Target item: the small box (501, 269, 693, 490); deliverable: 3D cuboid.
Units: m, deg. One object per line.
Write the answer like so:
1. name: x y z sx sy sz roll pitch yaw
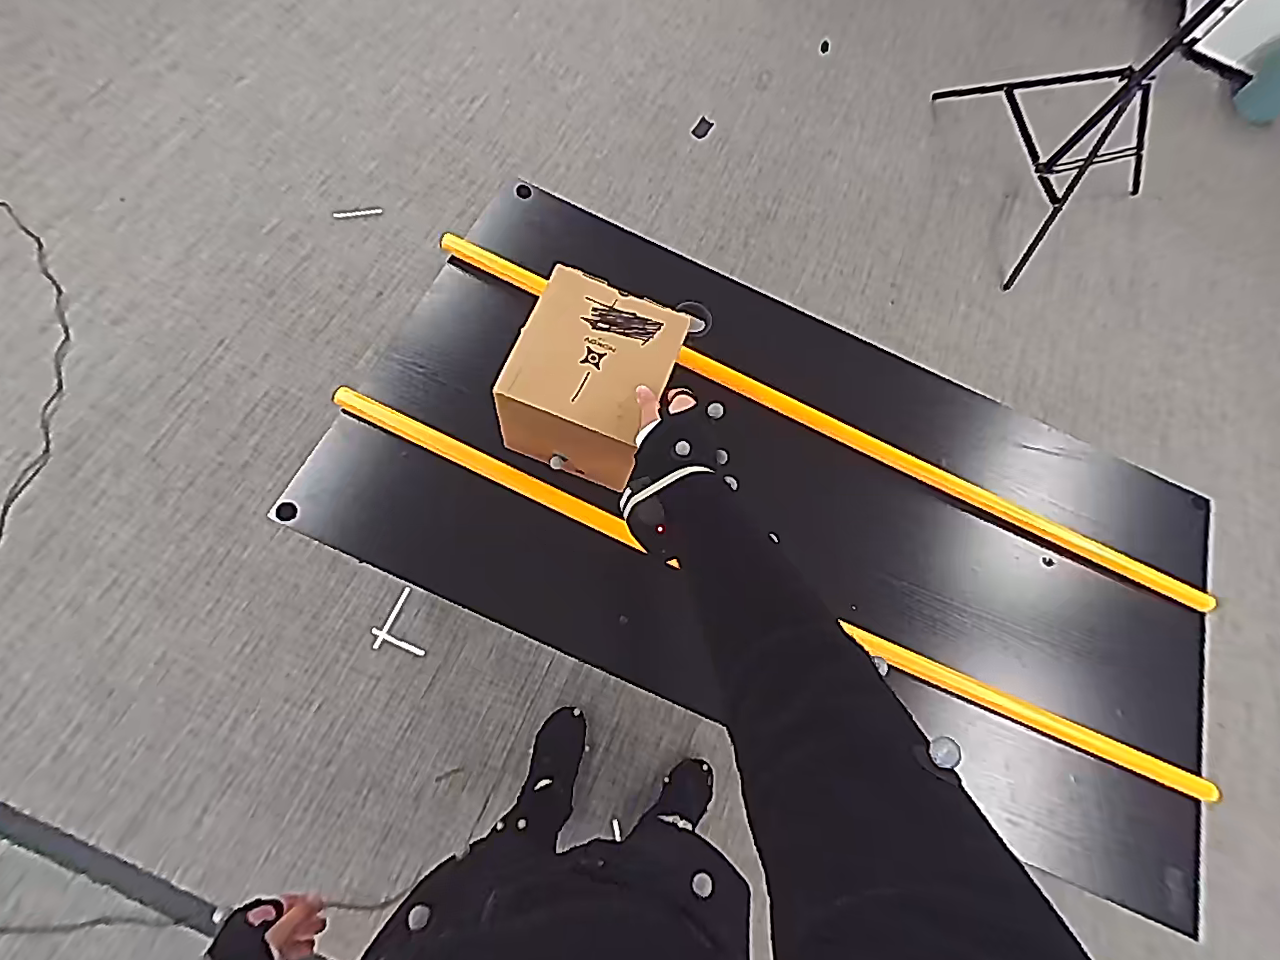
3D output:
1. small box: -0.055 -0.112 0.663 0.168 0.176 0.179 22 71 -1
